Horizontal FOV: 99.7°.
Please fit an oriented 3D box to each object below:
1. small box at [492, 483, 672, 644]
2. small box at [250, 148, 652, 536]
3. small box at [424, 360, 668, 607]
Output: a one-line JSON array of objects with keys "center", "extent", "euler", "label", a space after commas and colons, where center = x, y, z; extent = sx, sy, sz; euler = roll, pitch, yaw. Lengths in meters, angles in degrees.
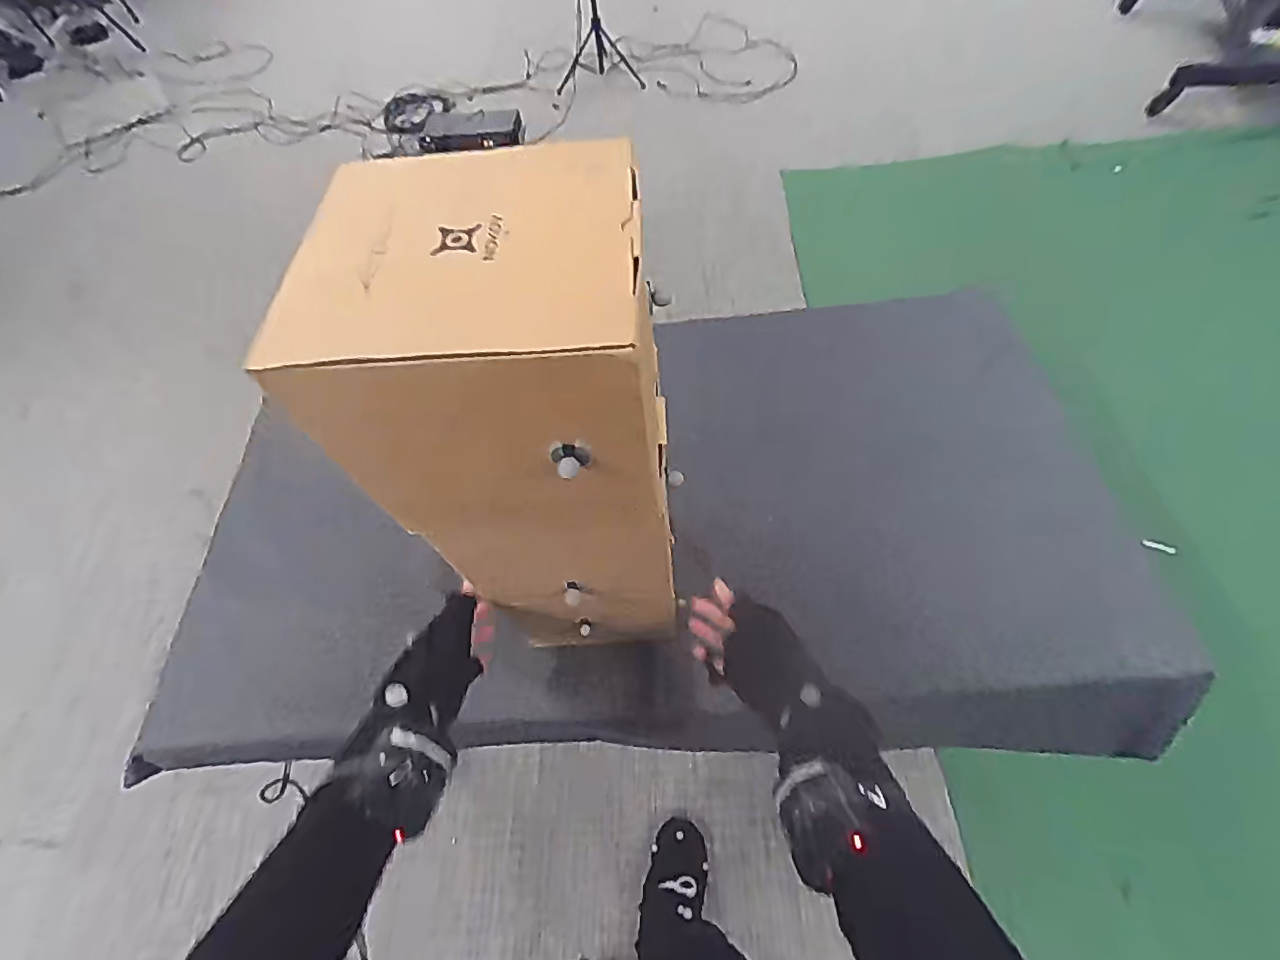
[{"center": [-0.054, 0.085, 0.627], "extent": [0.179, 0.176, 0.168], "euler": [-5, 59, 3], "label": "small box"}, {"center": [-0.083, -0.075, 0.345], "extent": [0.179, 0.176, 0.168], "euler": [-4, 58, 4], "label": "small box"}, {"center": [-0.067, 0.007, 0.488], "extent": [0.179, 0.176, 0.168], "euler": [-6, 60, 2], "label": "small box"}]
